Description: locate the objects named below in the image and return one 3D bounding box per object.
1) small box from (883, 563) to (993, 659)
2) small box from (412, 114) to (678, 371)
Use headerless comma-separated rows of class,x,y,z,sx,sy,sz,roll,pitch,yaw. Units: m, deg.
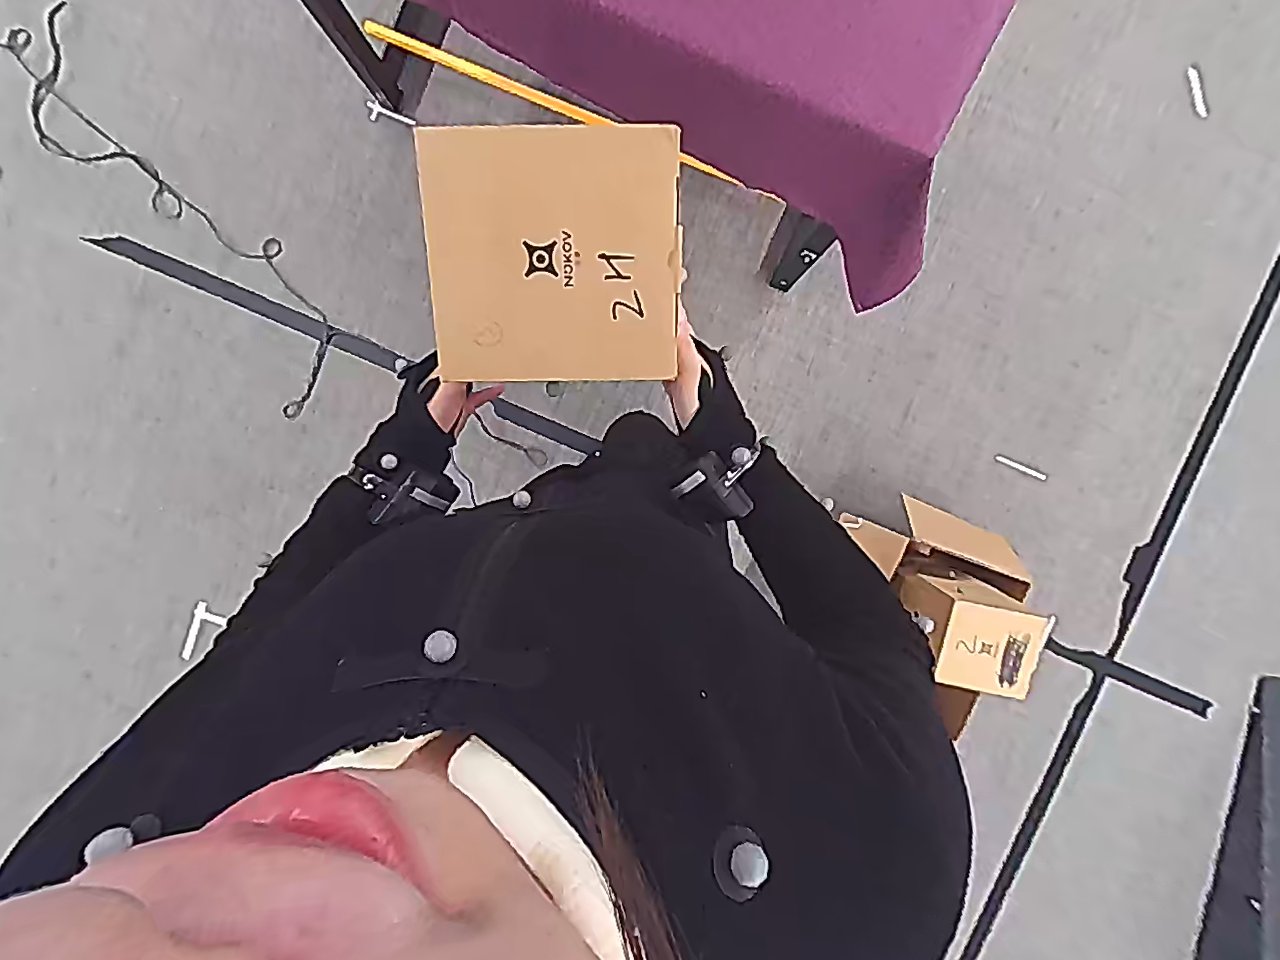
small box,0.684,0.297,1.259,0.168,0.176,0.179,2,97,3
small box,-0.063,-0.179,0.448,0.179,0.176,0.168,-1,106,-1
